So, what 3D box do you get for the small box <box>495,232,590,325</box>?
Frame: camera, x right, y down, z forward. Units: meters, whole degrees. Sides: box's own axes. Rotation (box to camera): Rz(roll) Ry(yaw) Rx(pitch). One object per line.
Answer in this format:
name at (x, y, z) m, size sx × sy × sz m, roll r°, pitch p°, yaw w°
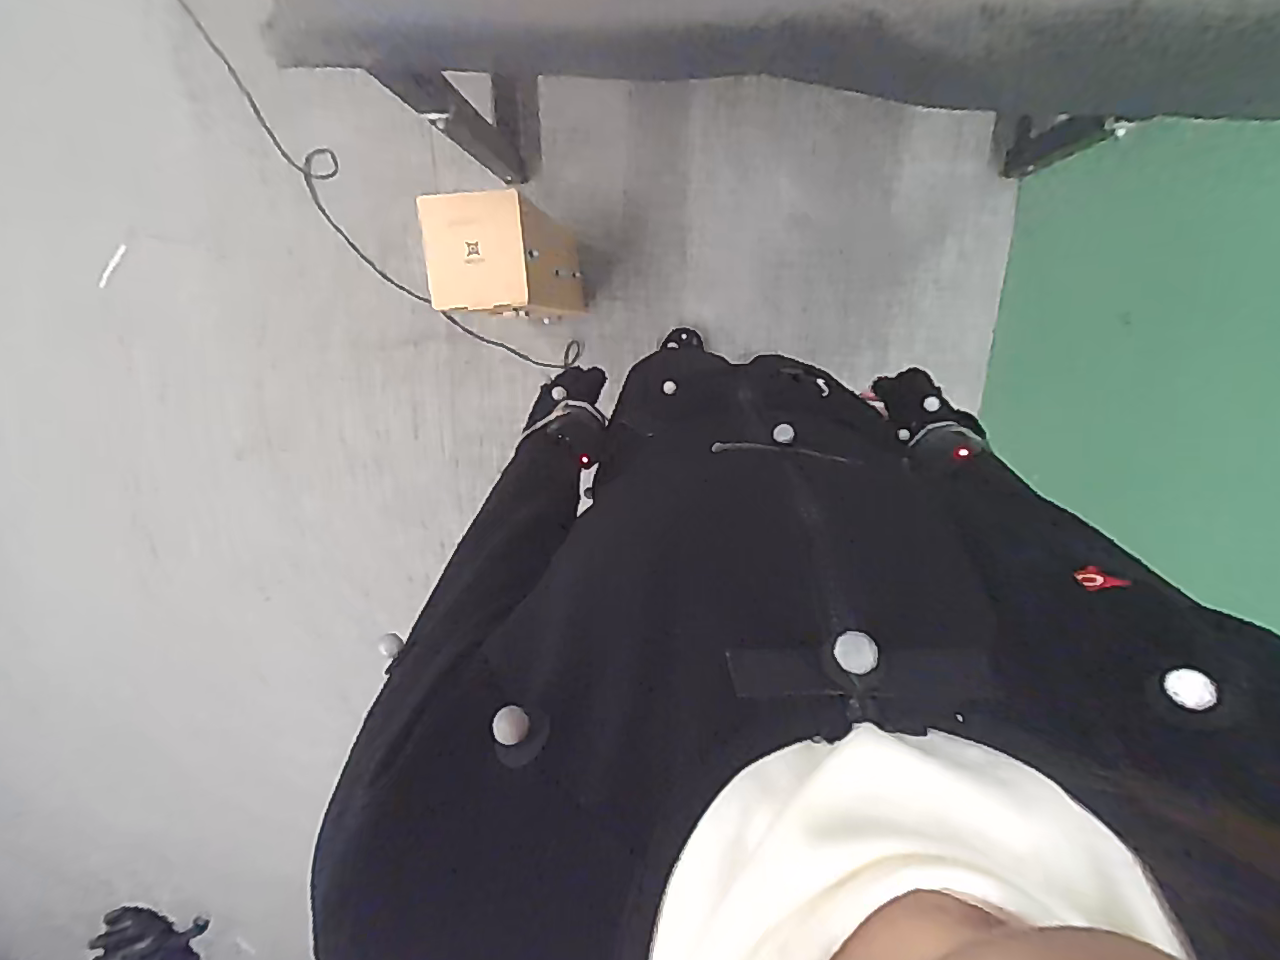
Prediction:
small box at (-0.220, -0.463, 1.265) m, size 0.168 × 0.176 × 0.179 m, roll -6°, pitch 105°, yaw 7°
